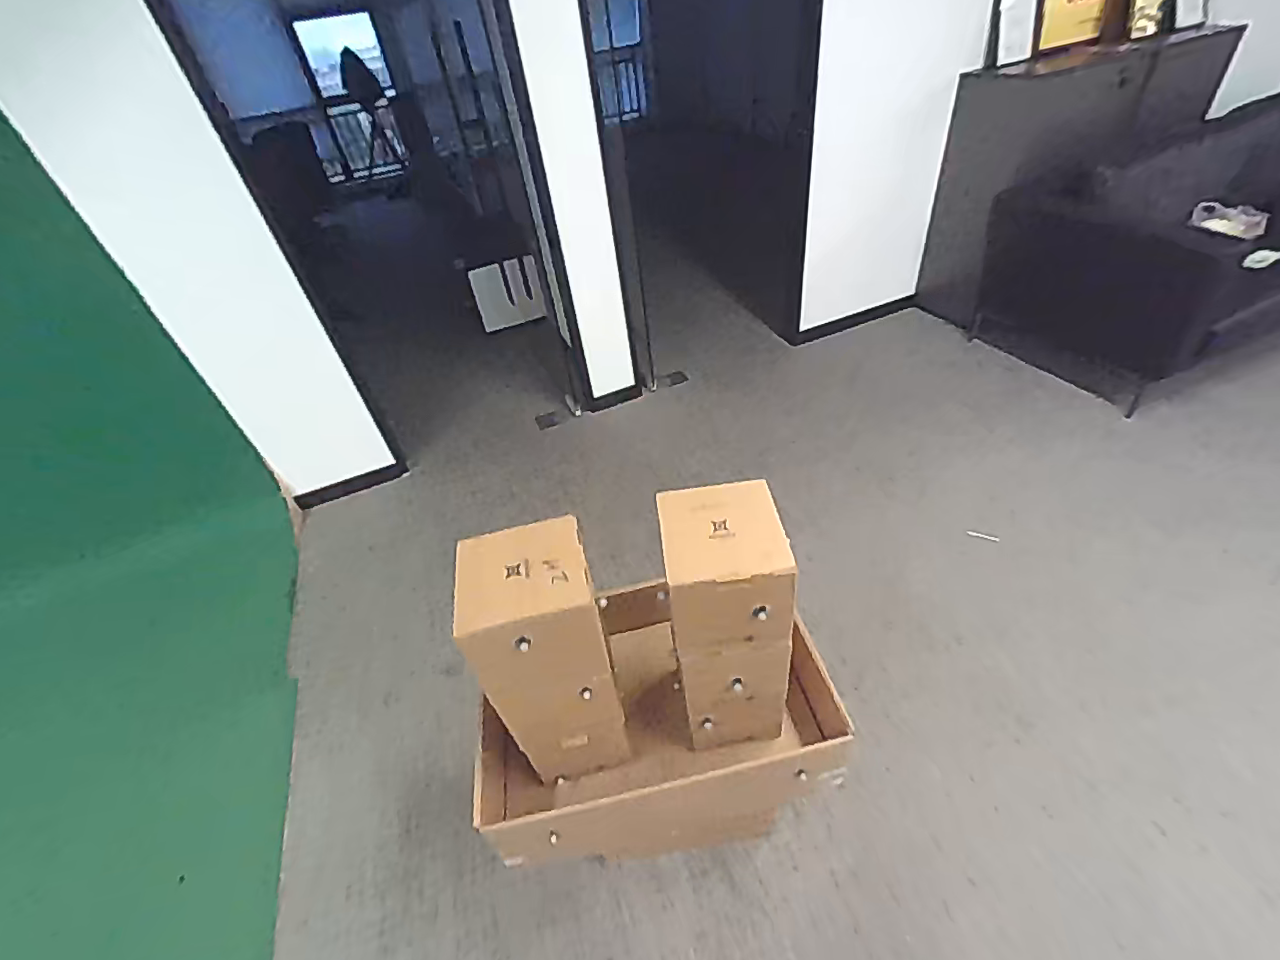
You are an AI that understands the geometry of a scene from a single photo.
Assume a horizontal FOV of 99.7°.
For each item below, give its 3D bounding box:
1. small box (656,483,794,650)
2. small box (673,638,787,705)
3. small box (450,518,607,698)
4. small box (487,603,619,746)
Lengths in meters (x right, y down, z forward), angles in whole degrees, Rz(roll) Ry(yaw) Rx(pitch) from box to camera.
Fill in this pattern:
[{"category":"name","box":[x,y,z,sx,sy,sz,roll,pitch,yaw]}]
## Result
[{"category":"small box","box":[0.118,0.131,0.786,0.168,0.176,0.179,-7,40,2]},{"category":"small box","box":[0.137,0.253,0.893,0.168,0.176,0.179,-8,42,1]},{"category":"small box","box":[-0.154,0.185,0.774,0.179,0.176,0.168,-12,42,-6]},{"category":"small box","box":[-0.140,0.307,0.884,0.179,0.176,0.168,-12,41,-6]}]
